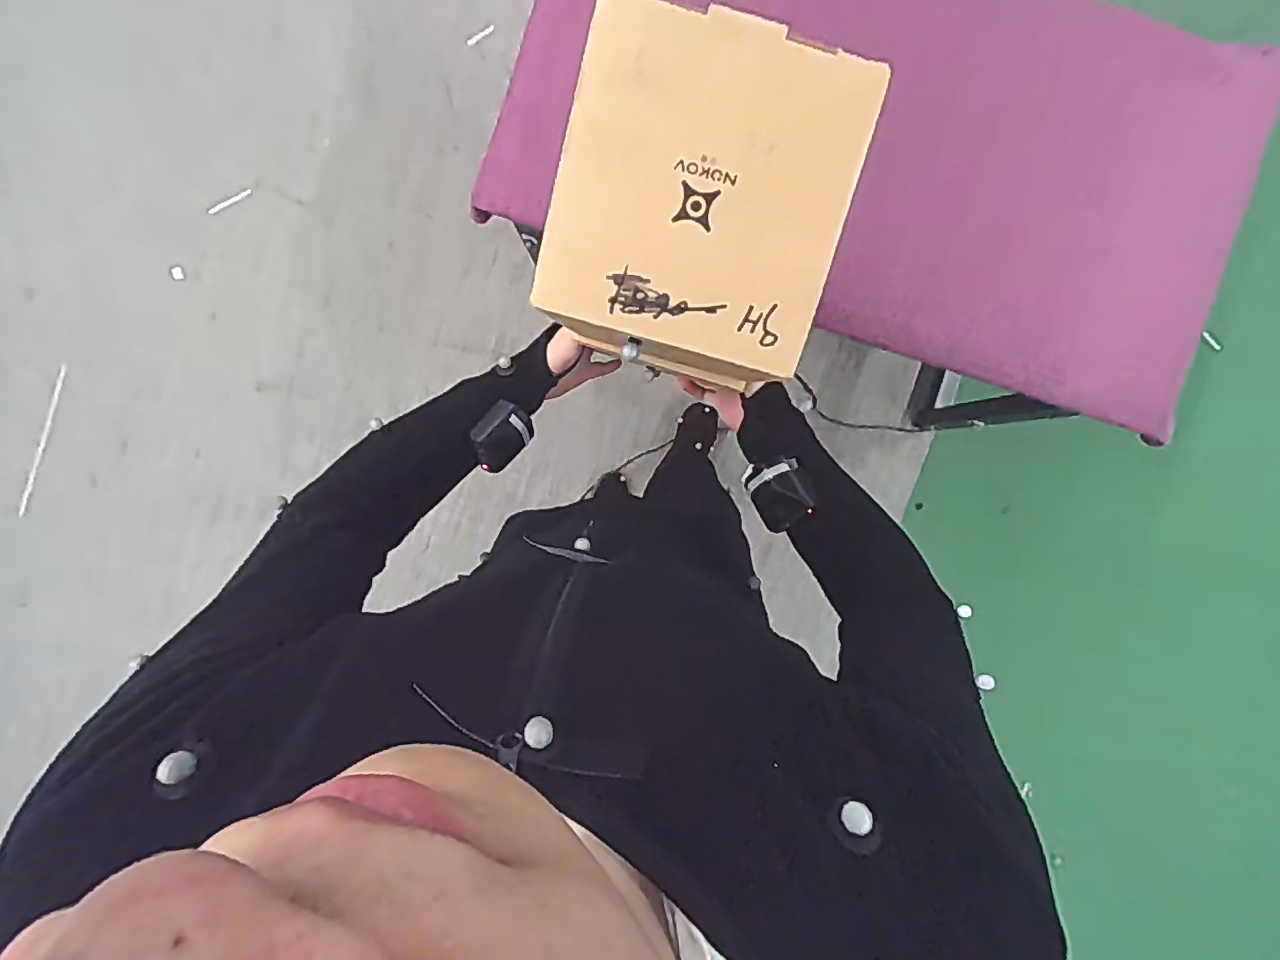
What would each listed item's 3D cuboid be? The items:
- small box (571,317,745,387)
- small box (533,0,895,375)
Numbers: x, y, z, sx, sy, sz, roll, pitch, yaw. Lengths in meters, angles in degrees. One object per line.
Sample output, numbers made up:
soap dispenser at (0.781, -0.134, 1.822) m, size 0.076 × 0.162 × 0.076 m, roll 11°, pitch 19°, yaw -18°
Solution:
small box at (0.044, -0.202, 0.544) m, size 0.168 × 0.176 × 0.179 m, roll 17°, pitch 100°, yaw -1°
small box at (0.040, -0.181, 0.381) m, size 0.168 × 0.176 × 0.179 m, roll 16°, pitch 100°, yaw 0°
